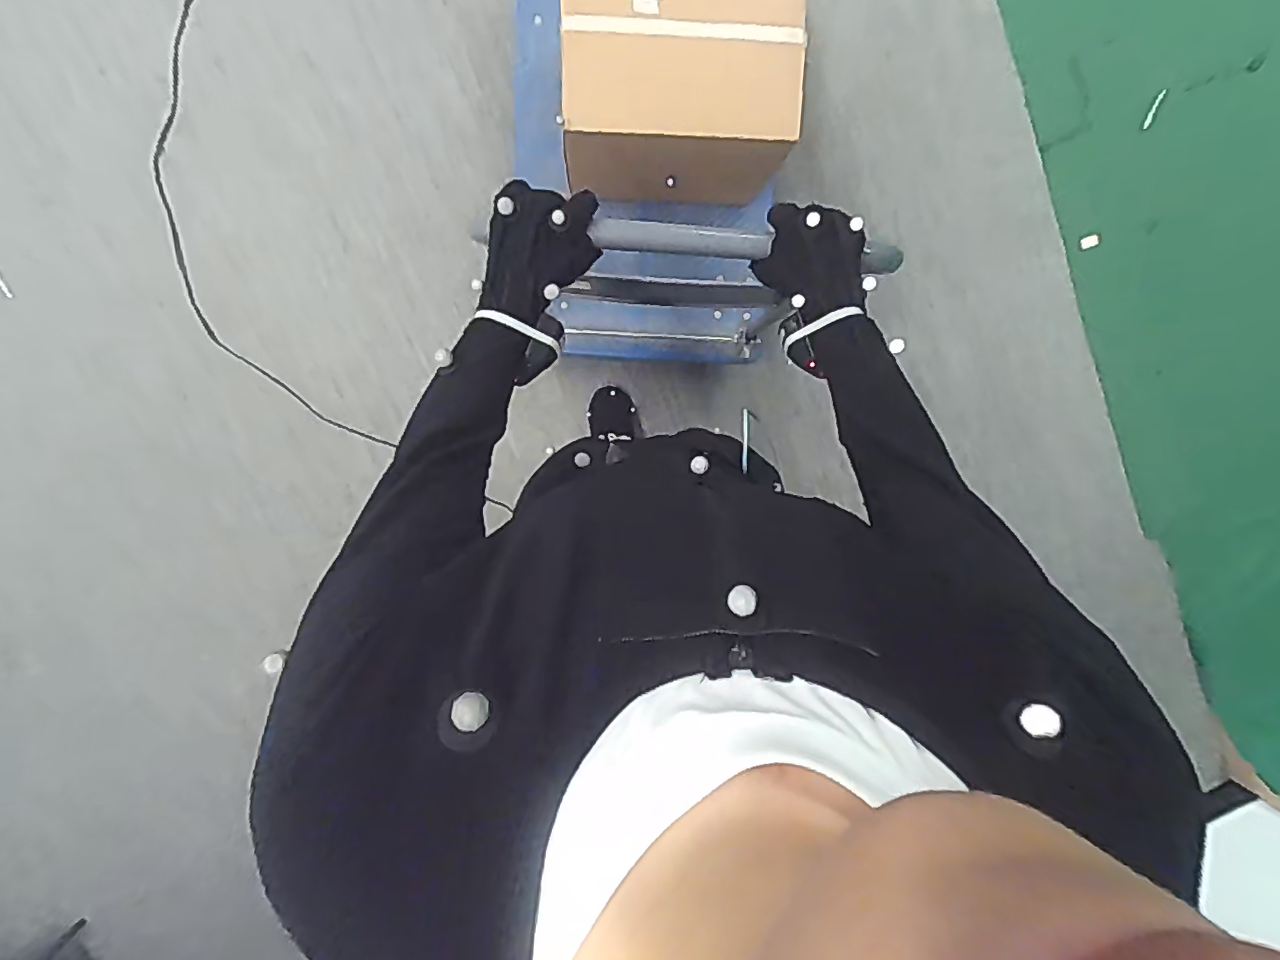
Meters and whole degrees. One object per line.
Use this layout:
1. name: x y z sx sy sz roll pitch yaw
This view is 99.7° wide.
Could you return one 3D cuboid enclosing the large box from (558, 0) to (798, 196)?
1. large box: 0.056 -0.759 1.035 0.408 0.320 0.320 -1 98 -4
